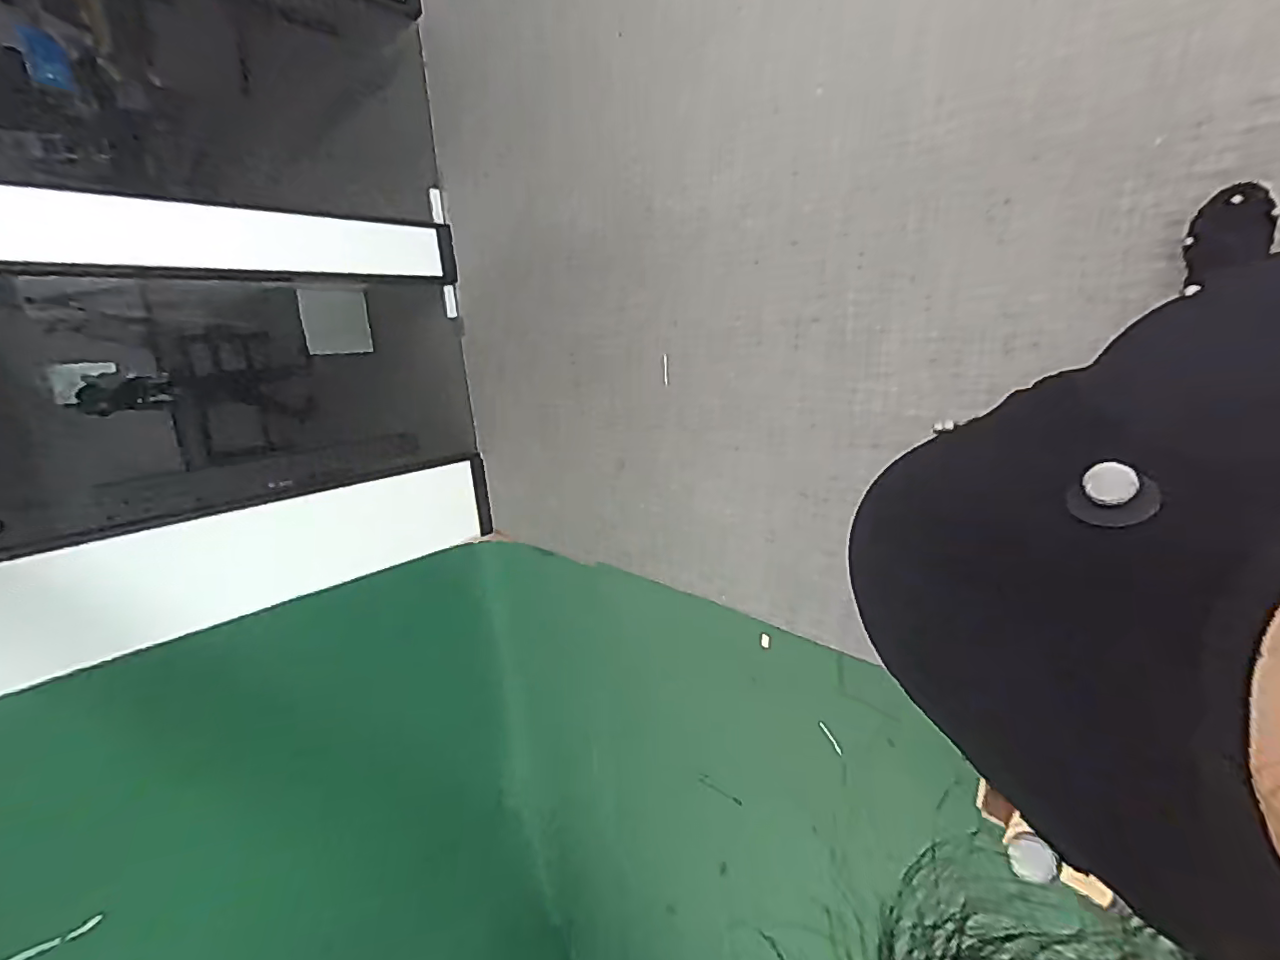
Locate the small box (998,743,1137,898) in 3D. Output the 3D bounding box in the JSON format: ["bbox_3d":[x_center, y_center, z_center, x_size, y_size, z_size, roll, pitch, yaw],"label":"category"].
[{"bbox_3d":[0.865,0.671,1.096,0.179,0.176,0.168,21,117,38],"label":"small box"}]
